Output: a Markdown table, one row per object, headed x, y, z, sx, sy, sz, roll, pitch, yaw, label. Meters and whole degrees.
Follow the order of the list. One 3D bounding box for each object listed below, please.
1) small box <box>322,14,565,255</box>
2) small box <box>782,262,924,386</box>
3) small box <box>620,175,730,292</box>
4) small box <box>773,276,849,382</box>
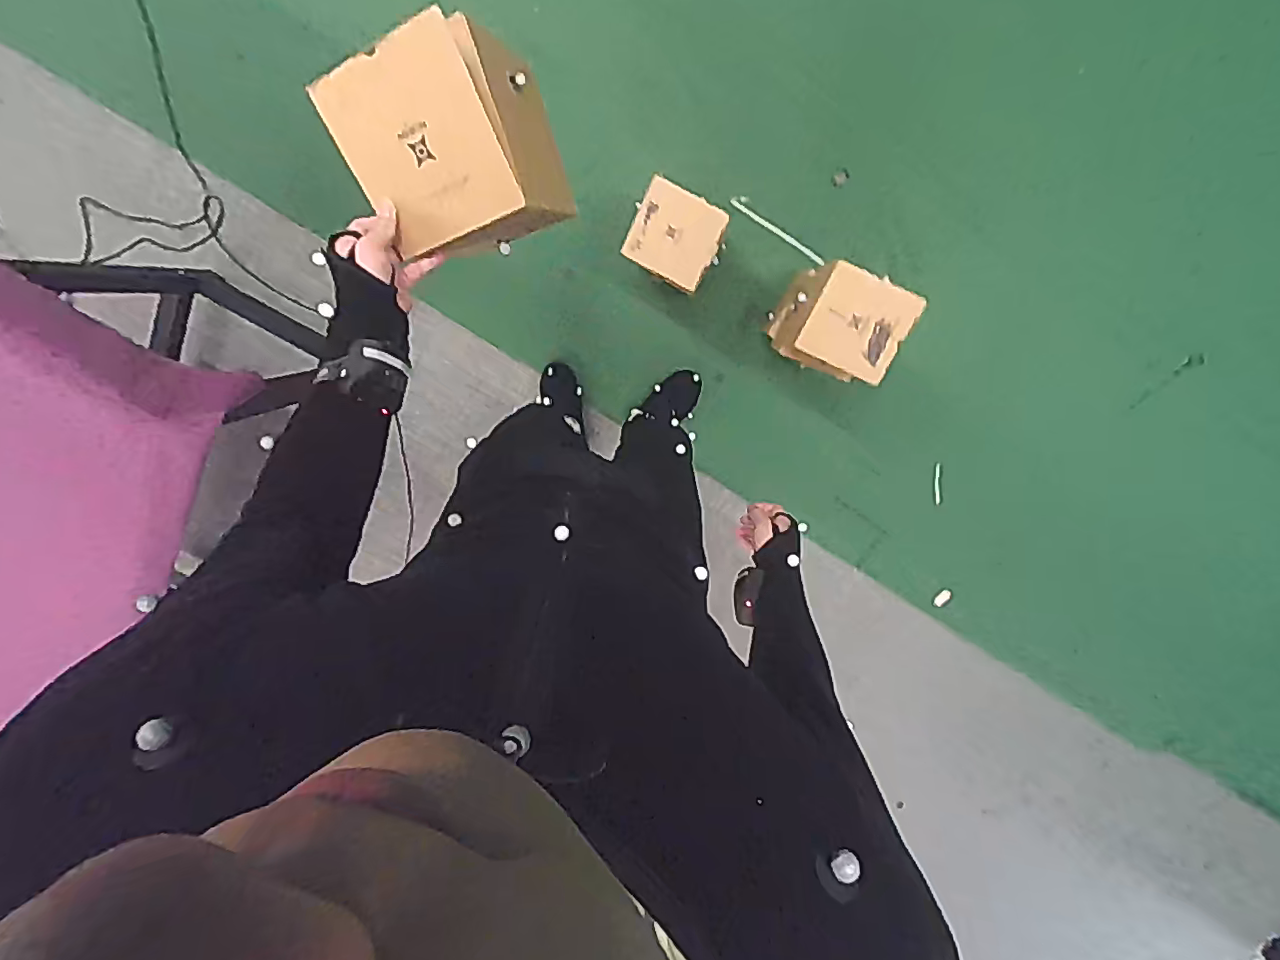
| x | y | z | sx | sy | sz | roll | pitch | yaw | label |
| --- | --- | --- | --- | --- | --- | --- | --- | --- | --- |
| -0.209 | -0.374 | 0.626 | 0.168 | 0.176 | 0.179 | -12 | 110 | 19 | small box |
| 0.396 | -0.304 | 1.043 | 0.179 | 0.176 | 0.168 | 26 | 110 | -2 | small box |
| 0.078 | -0.530 | 1.181 | 0.179 | 0.176 | 0.168 | 28 | 109 | -3 | small box |
| 0.410 | -0.342 | 1.203 | 0.168 | 0.176 | 0.179 | 23 | 111 | -1 | small box |
